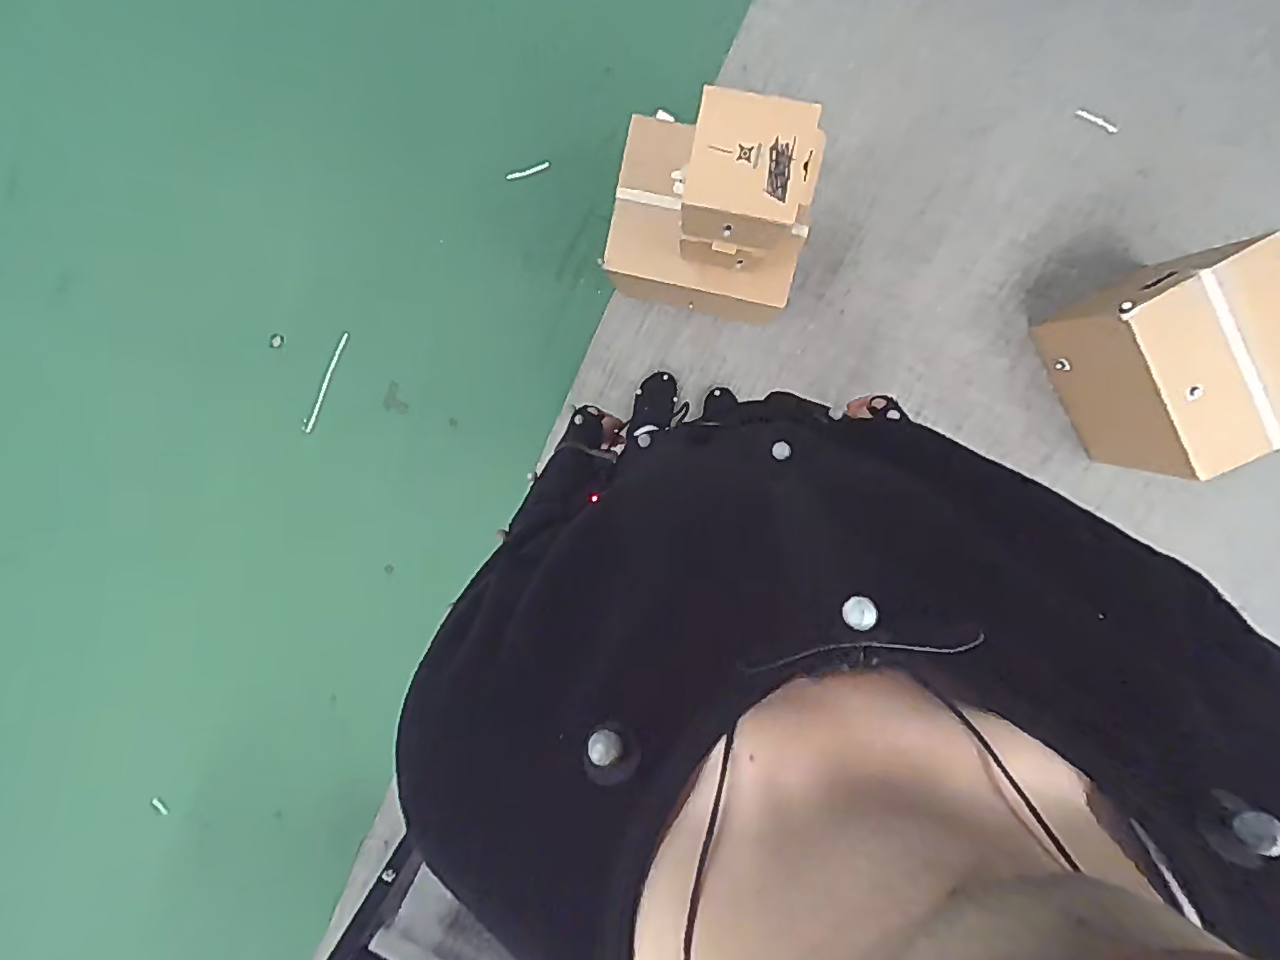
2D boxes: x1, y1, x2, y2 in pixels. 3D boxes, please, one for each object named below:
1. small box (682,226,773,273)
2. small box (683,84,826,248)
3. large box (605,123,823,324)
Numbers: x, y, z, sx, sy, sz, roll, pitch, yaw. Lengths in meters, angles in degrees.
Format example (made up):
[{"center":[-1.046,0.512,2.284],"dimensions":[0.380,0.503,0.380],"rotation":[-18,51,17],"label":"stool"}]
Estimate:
[{"center":[0.181,-0.510,1.026],"dimensions":[0.168,0.176,0.179],"rotation":[14,100,3],"label":"small box"},{"center":[0.171,-0.486,0.864],"dimensions":[0.179,0.176,0.168],"rotation":[12,100,3],"label":"small box"},{"center":[0.165,-0.570,1.266],"dimensions":[0.408,0.320,0.320],"rotation":[13,99,4],"label":"large box"}]
